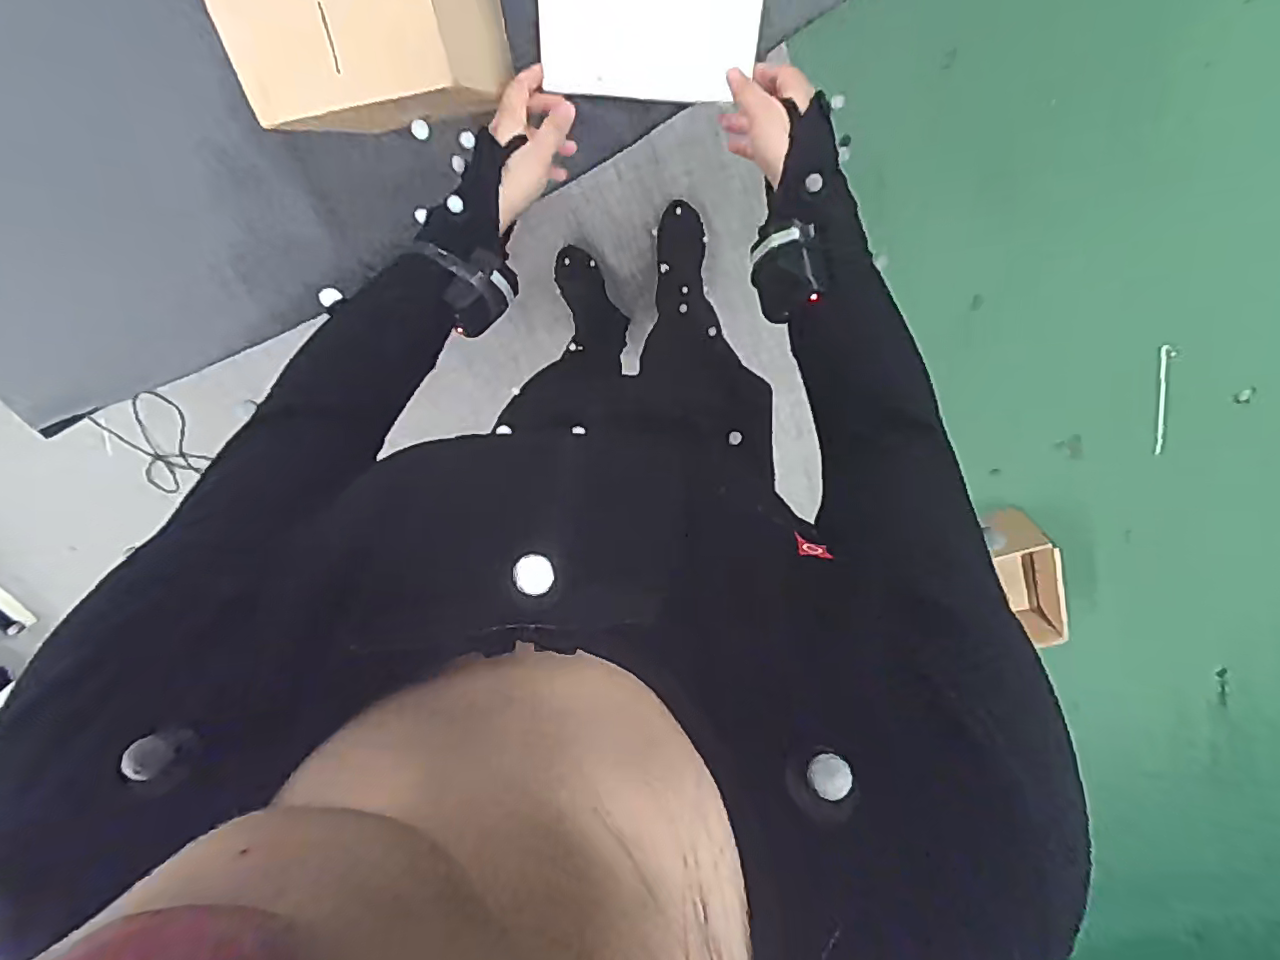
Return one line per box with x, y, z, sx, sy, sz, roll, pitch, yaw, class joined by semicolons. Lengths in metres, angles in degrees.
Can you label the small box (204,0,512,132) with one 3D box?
-0.221;-0.394;0.433;0.168;0.176;0.179;-4;122;10;small box
